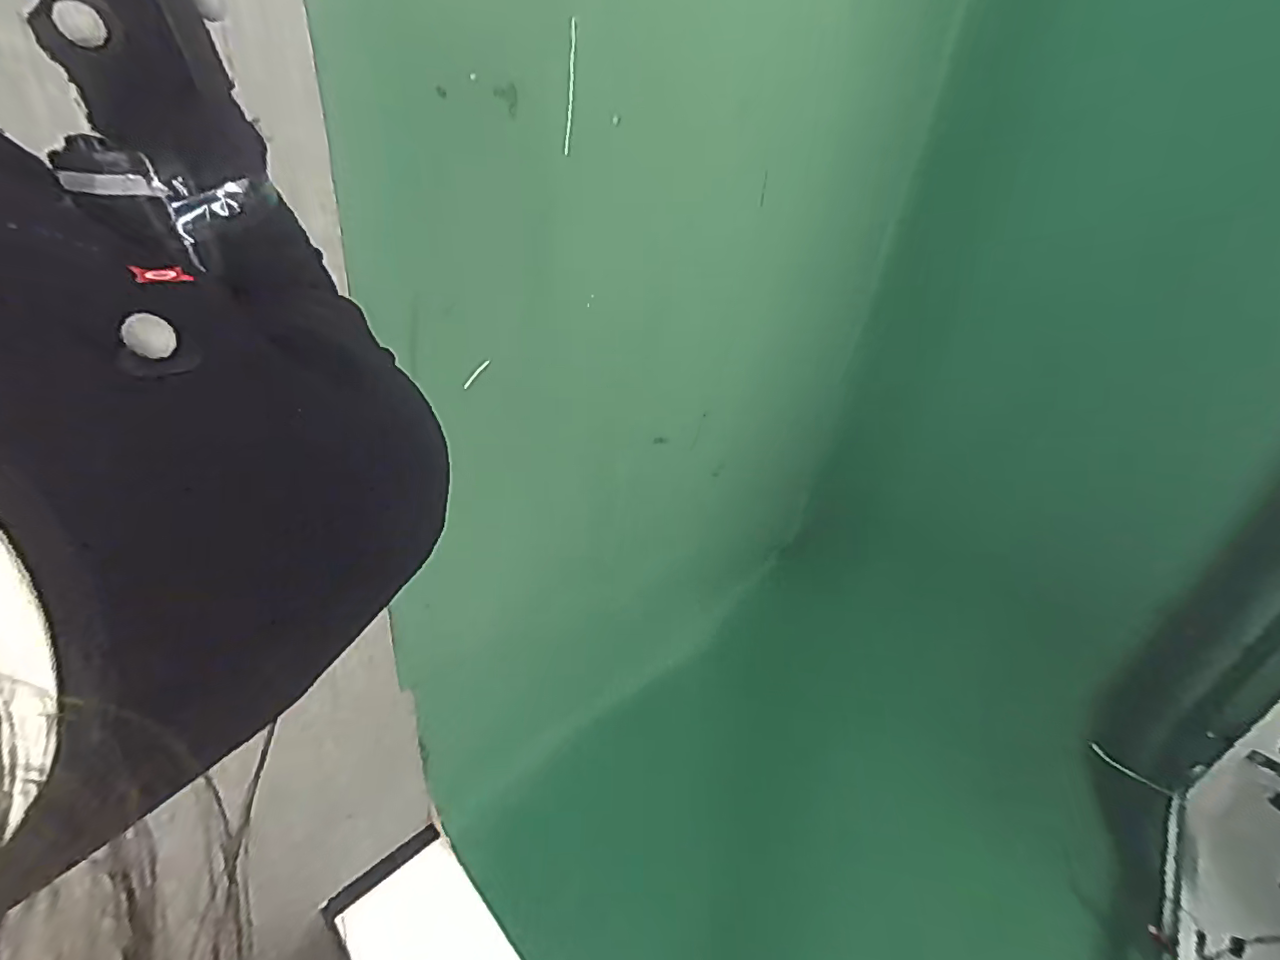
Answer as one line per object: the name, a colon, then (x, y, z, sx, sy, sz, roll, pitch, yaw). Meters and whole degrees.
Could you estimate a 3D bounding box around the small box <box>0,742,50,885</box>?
small box: (-1.105, 0.559, 0.865, 0.168, 0.176, 0.179, -25, 131, -40)
